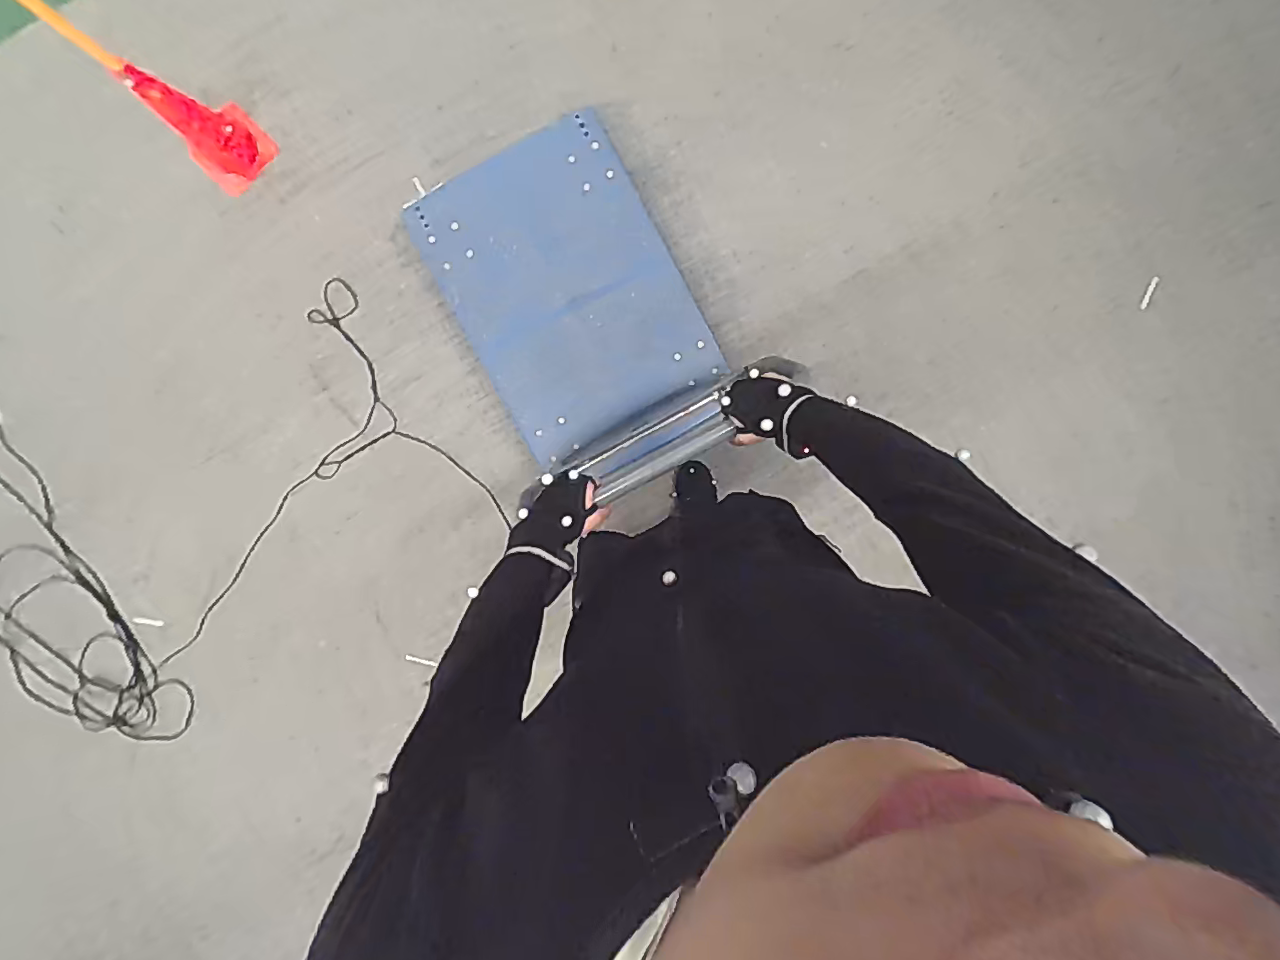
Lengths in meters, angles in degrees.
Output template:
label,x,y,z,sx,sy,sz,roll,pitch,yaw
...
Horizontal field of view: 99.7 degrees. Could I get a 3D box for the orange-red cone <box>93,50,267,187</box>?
label,x,y,z,sx,sy,sz,roll,pitch,yaw
orange-red cone,-1.202,-0.957,1.385,0.199,0.360,0.198,-44,92,5
